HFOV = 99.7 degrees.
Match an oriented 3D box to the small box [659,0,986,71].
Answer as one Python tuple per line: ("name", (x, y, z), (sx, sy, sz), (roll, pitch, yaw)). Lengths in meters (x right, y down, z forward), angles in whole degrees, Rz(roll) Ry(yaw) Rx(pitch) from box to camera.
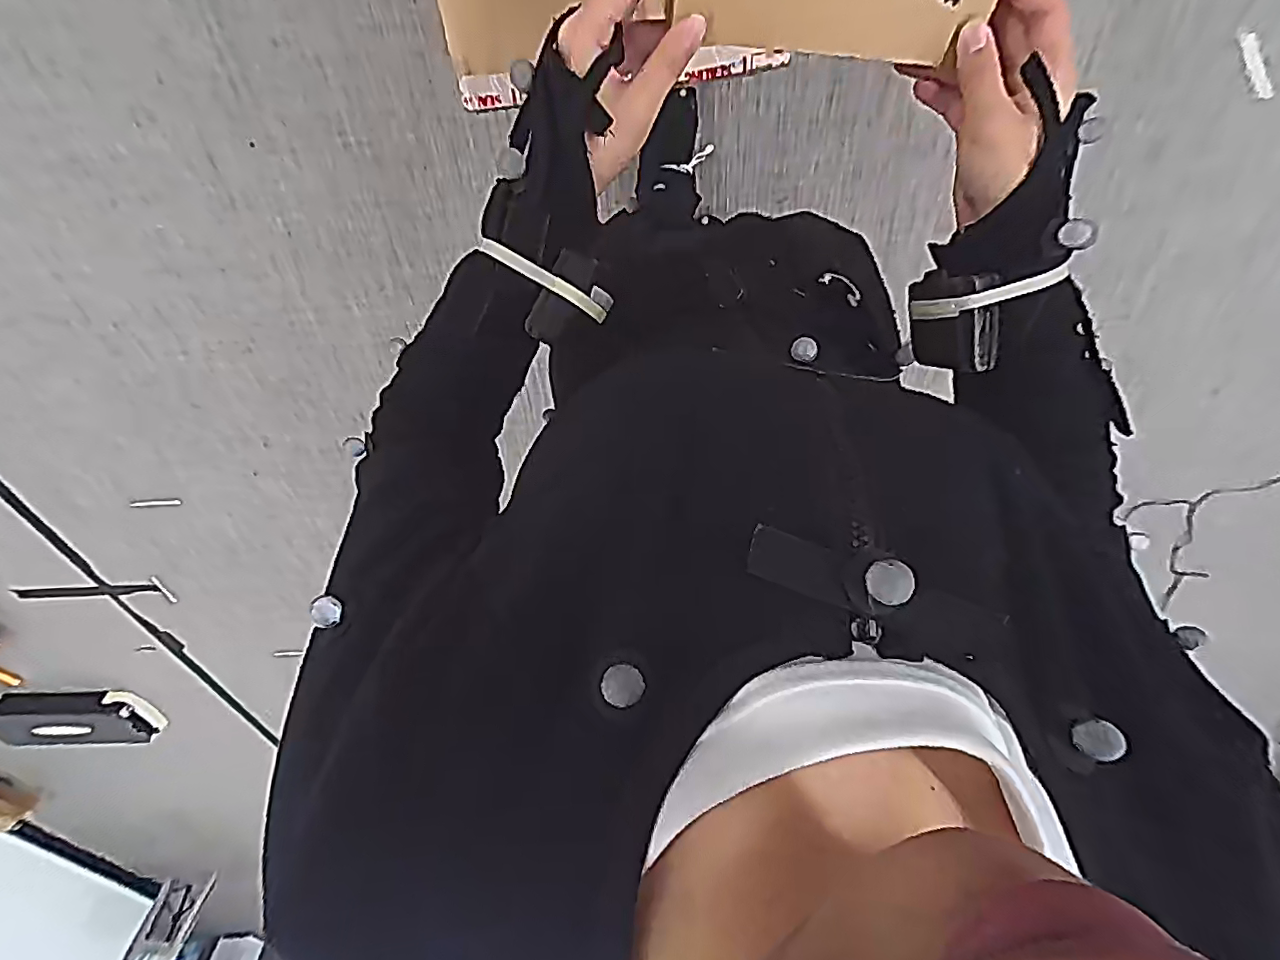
("small box", (0.105, -0.357, 0.300), (0.179, 0.176, 0.168), (2, 140, -5))
